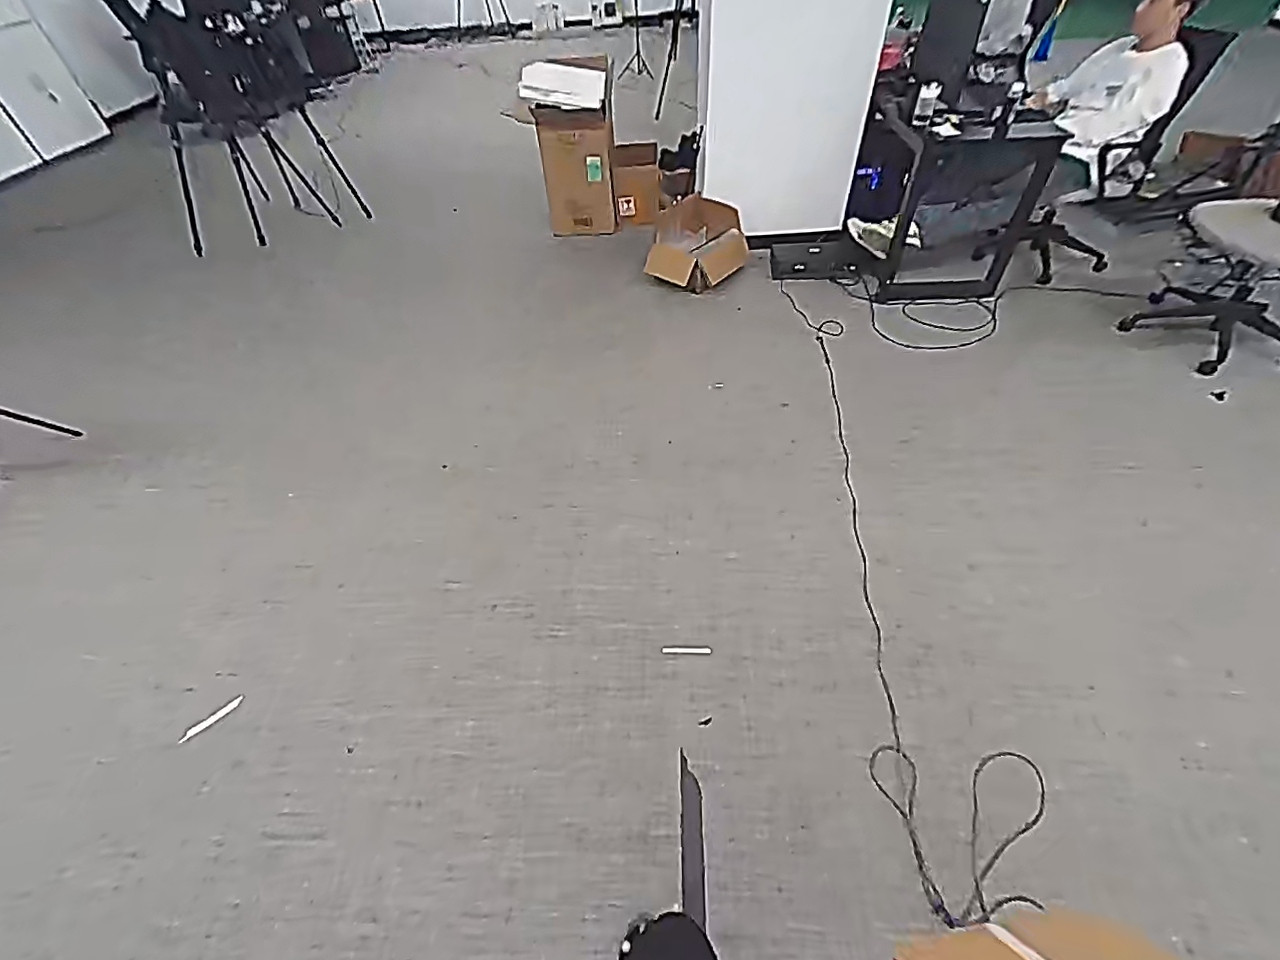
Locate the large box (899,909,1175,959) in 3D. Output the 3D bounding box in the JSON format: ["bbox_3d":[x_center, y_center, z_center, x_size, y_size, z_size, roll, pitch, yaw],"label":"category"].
[{"bbox_3d":[0.556,0.756,0.576,0.320,0.408,0.320,-9,75,-4],"label":"large box"}]
